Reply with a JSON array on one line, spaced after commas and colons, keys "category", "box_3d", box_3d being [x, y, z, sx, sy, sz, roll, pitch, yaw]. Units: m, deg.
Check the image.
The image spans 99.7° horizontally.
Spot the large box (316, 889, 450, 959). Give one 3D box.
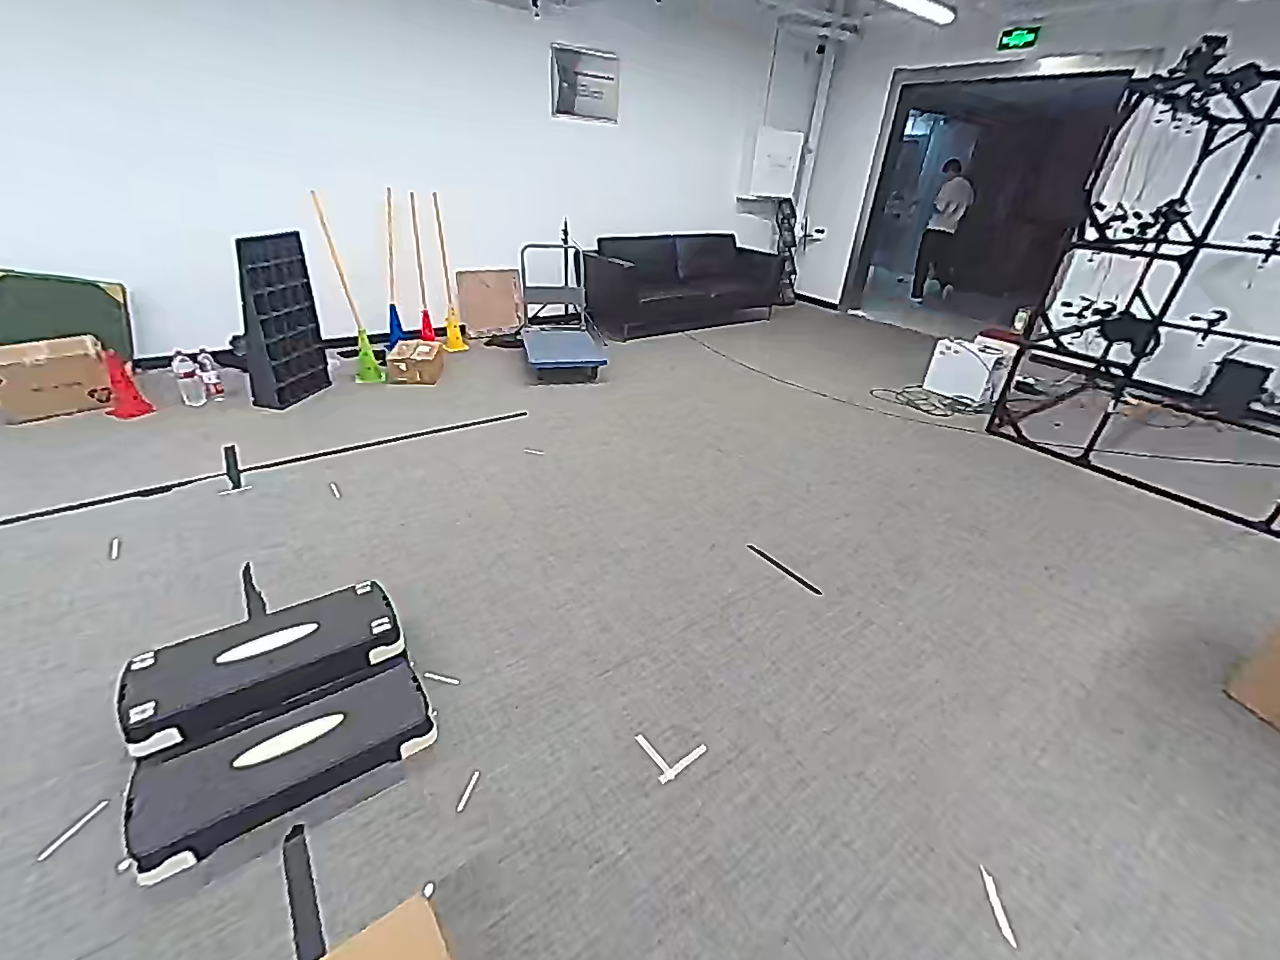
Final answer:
[{"category": "large box", "box_3d": [-0.467, 0.986, 0.840, 0.408, 0.320, 0.320, -18, 37, -35]}]

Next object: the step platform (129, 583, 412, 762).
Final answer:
[{"category": "step platform", "box_3d": [-1.071, 0.543, 1.628, 0.684, 0.204, 0.286, -13, 34, -29]}]
